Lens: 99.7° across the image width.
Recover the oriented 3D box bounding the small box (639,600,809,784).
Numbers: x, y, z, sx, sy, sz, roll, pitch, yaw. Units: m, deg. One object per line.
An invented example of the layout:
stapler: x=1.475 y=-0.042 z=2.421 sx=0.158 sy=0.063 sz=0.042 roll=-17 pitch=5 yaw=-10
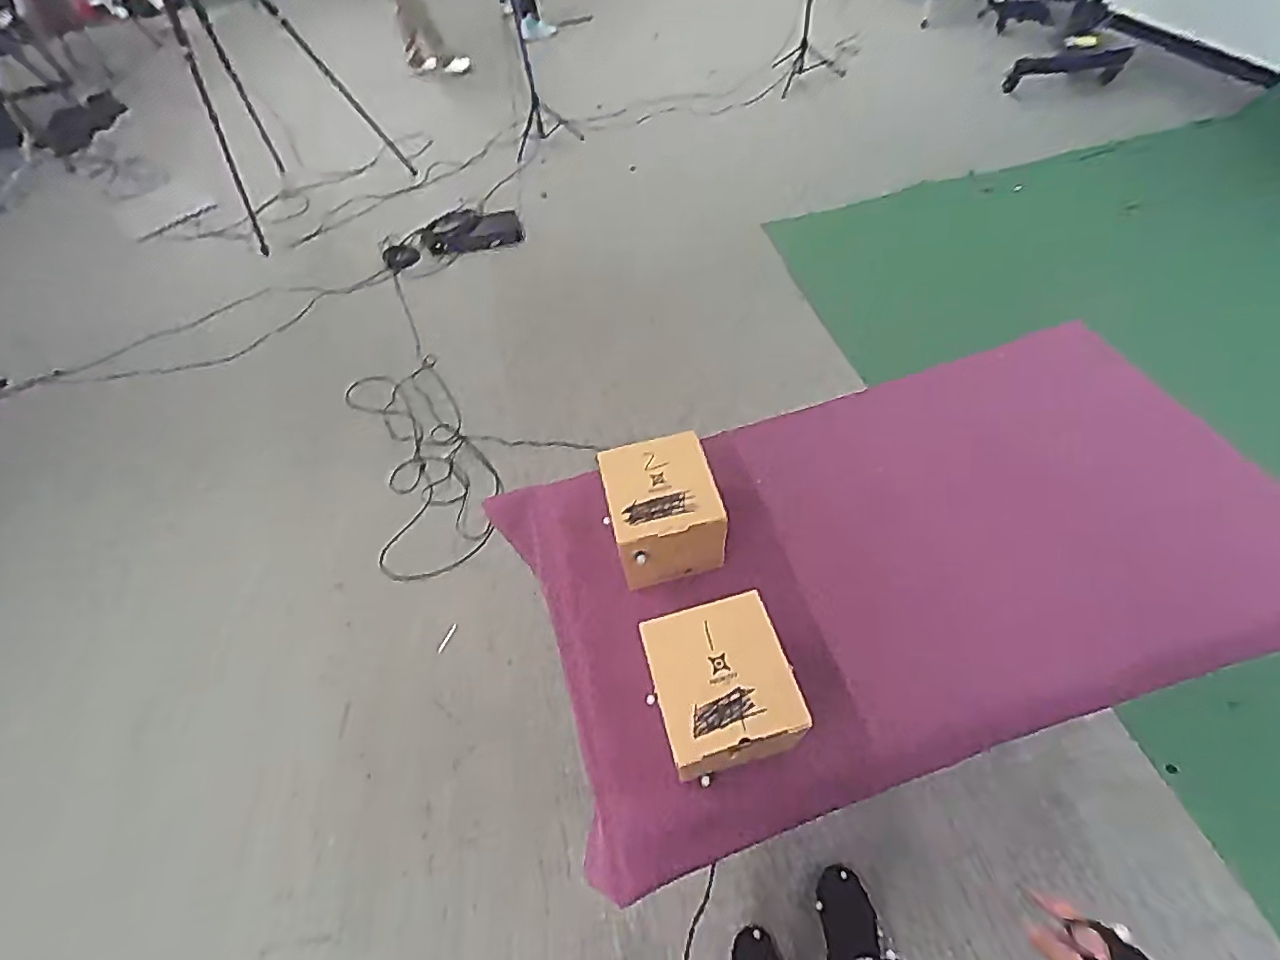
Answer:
small box: x=0.104 y=0.290 z=0.722 sx=0.168 sy=0.176 sz=0.179 roll=-15 pitch=54 yaw=-5
